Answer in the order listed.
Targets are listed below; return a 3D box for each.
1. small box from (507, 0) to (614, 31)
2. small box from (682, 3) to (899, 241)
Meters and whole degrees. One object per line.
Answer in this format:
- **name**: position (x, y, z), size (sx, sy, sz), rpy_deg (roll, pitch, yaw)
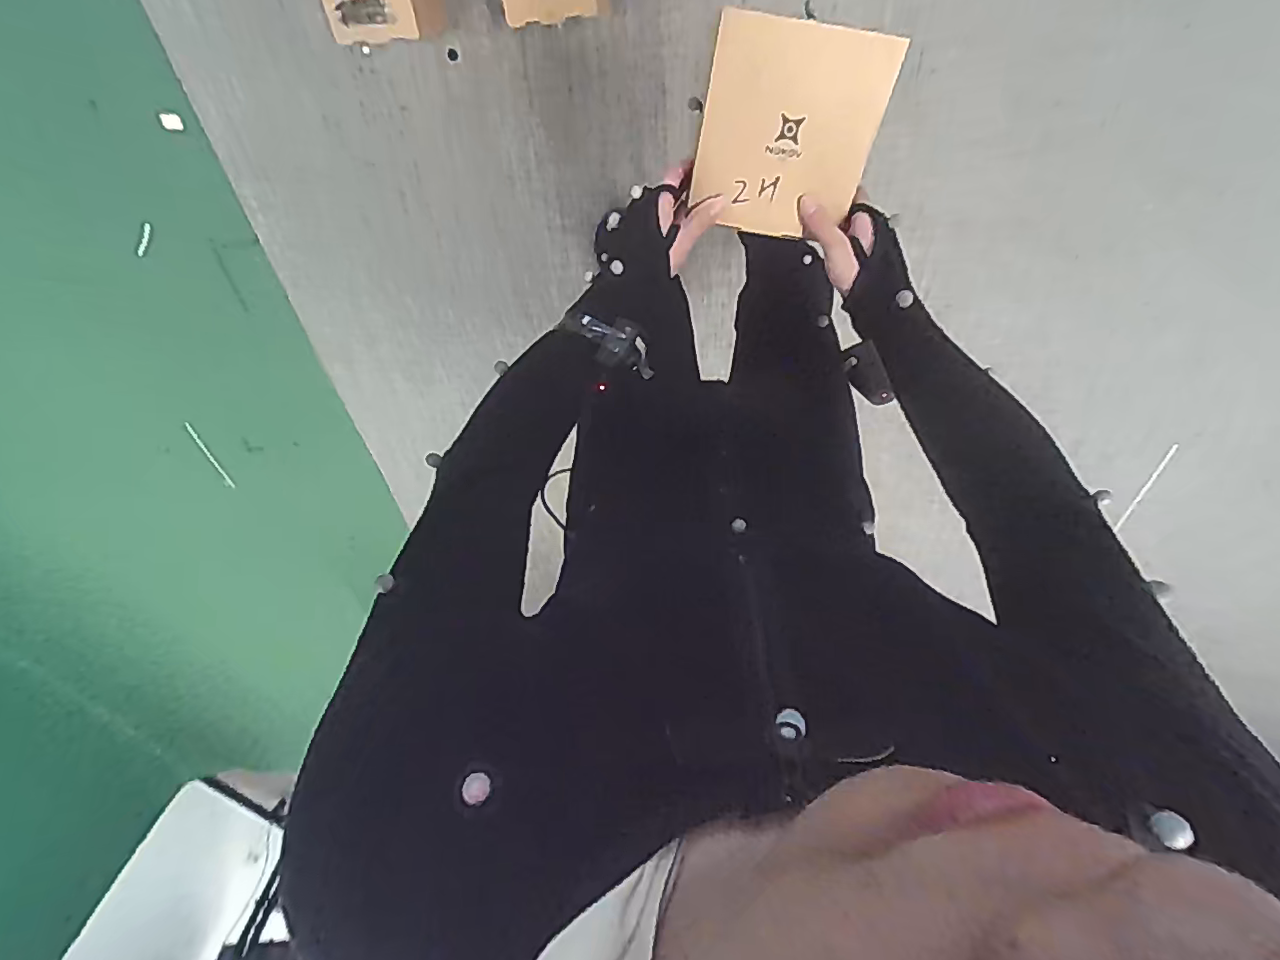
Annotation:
- **small box**: position (-0.146, -0.919, 0.955), size (0.168, 0.176, 0.179), rpy_deg (0, 133, 9)
- **small box**: position (0.140, -0.384, 0.580), size (0.168, 0.176, 0.179), rpy_deg (9, 132, -1)
